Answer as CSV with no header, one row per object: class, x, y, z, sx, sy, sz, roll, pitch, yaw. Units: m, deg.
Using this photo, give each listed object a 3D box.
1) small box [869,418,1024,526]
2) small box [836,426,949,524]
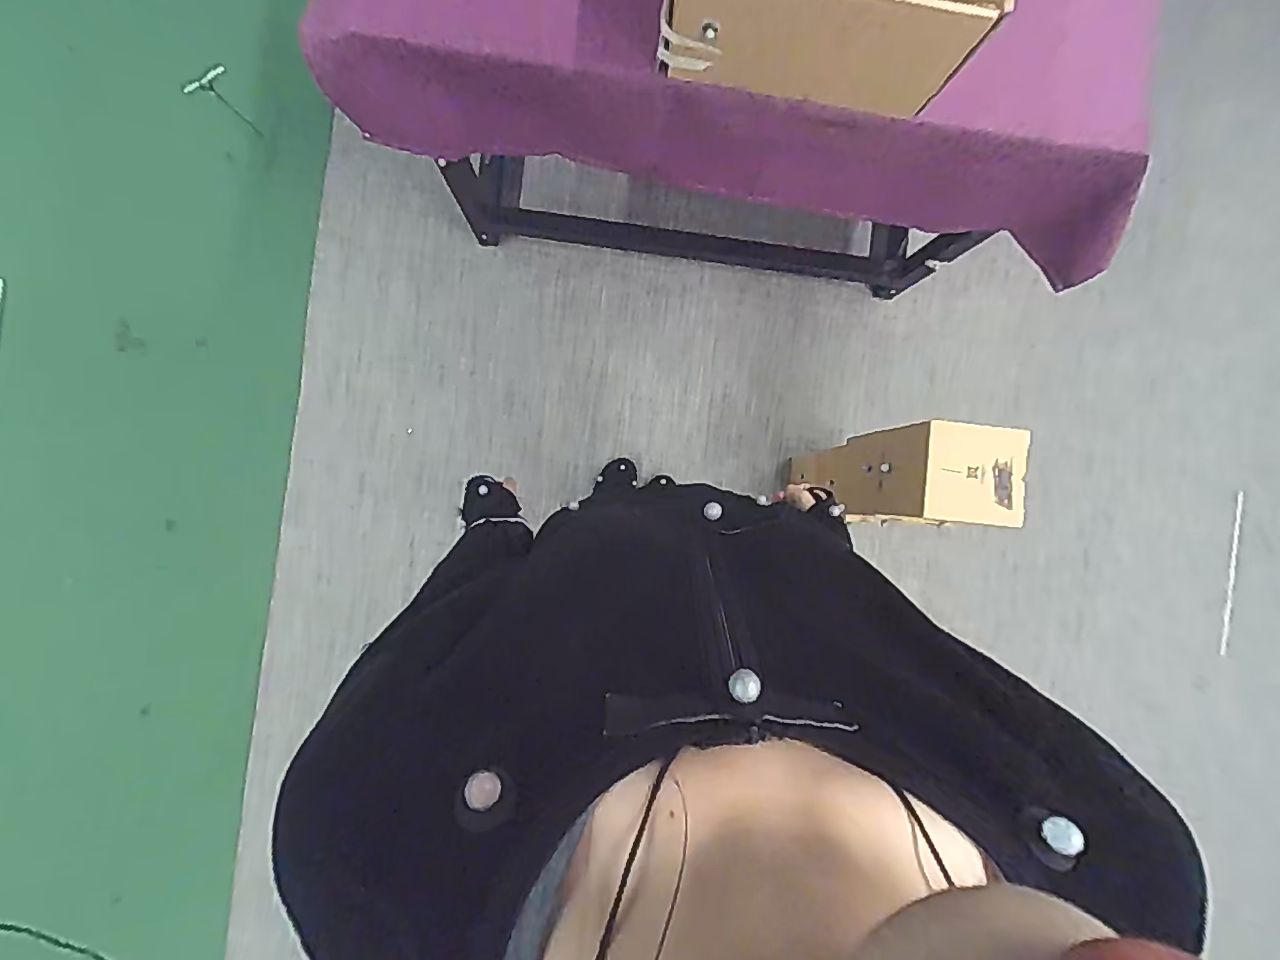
small box,0.543,-0.013,0.976,0.179,0.176,0.168,6,88,-3
small box,0.532,-0.007,1.140,0.168,0.176,0.179,8,88,-3
